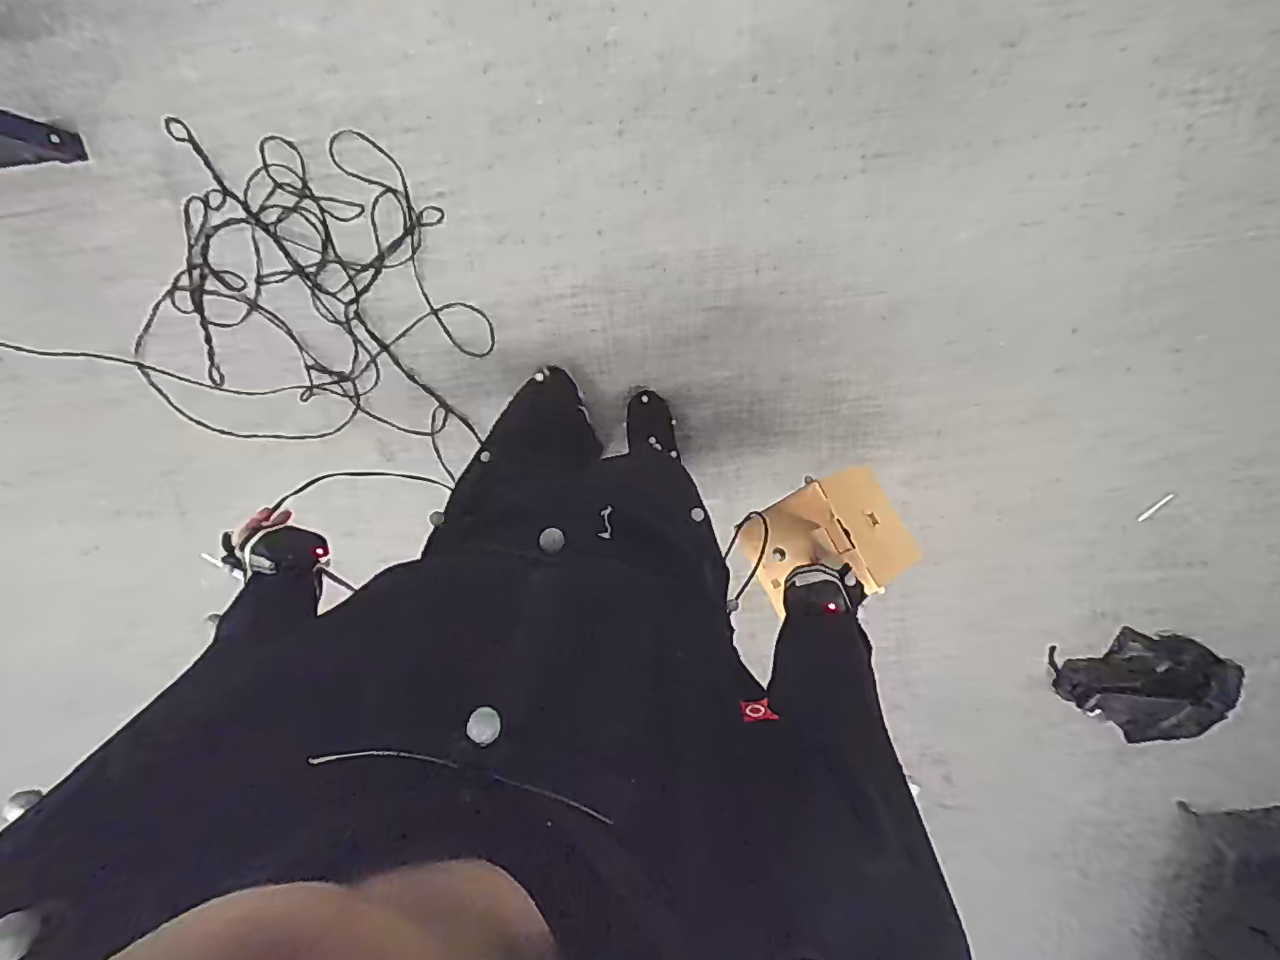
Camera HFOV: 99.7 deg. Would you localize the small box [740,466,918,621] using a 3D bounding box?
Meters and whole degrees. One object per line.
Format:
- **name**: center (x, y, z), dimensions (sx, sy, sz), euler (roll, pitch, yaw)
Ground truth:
- **small box**: center (0.287, 0.097, 0.837), dimensions (0.176, 0.179, 0.168), euler (-37, 73, 41)
